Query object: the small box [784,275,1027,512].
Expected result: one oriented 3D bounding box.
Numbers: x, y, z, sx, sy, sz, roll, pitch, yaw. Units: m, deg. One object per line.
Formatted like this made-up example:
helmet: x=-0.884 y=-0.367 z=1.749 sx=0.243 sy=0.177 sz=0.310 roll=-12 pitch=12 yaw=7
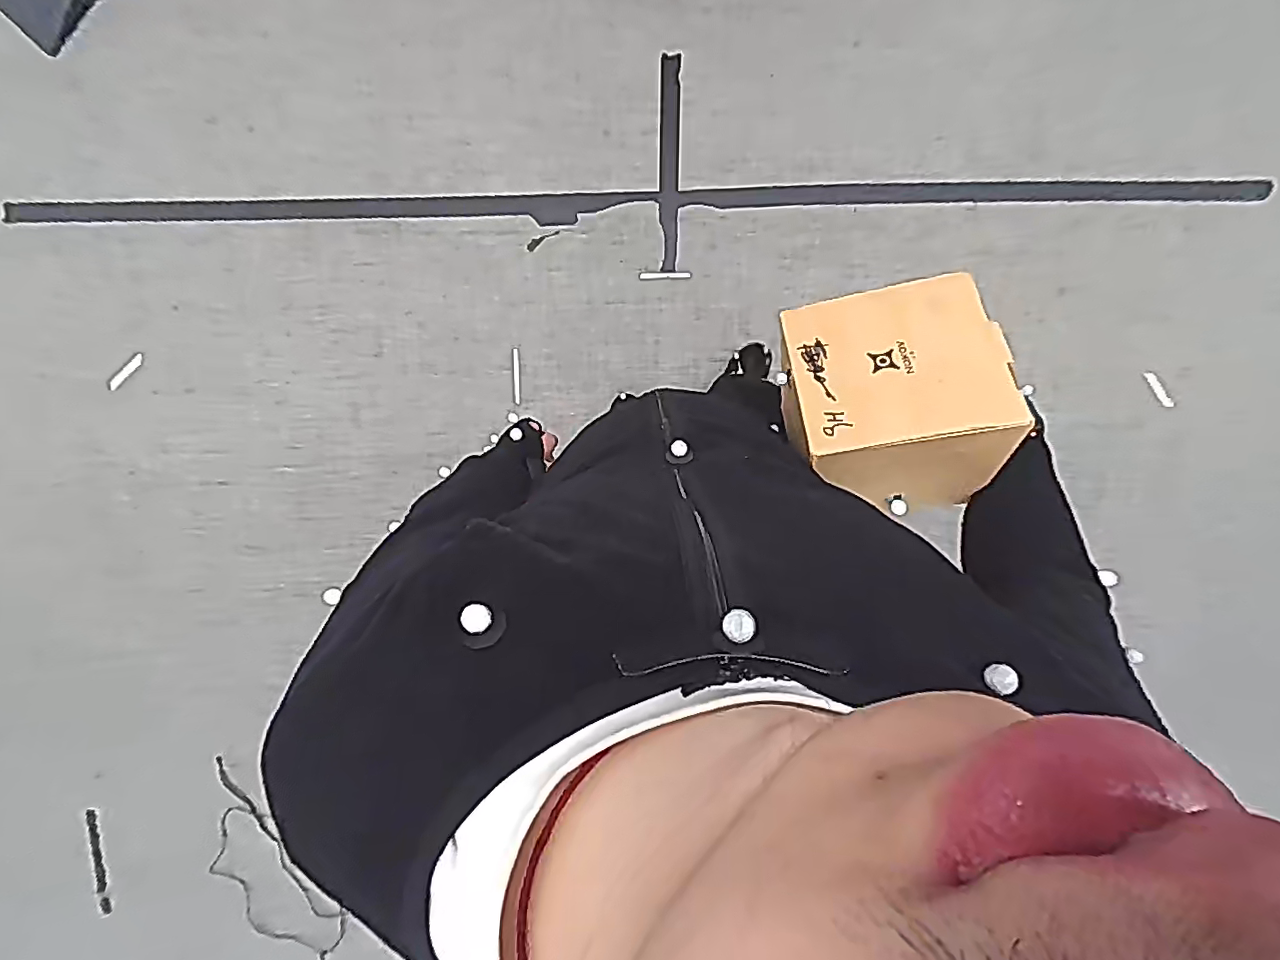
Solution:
small box: x=0.252 y=-0.078 z=0.567 sx=0.179 sy=0.176 sz=0.168 roll=-9 pitch=63 yaw=11
